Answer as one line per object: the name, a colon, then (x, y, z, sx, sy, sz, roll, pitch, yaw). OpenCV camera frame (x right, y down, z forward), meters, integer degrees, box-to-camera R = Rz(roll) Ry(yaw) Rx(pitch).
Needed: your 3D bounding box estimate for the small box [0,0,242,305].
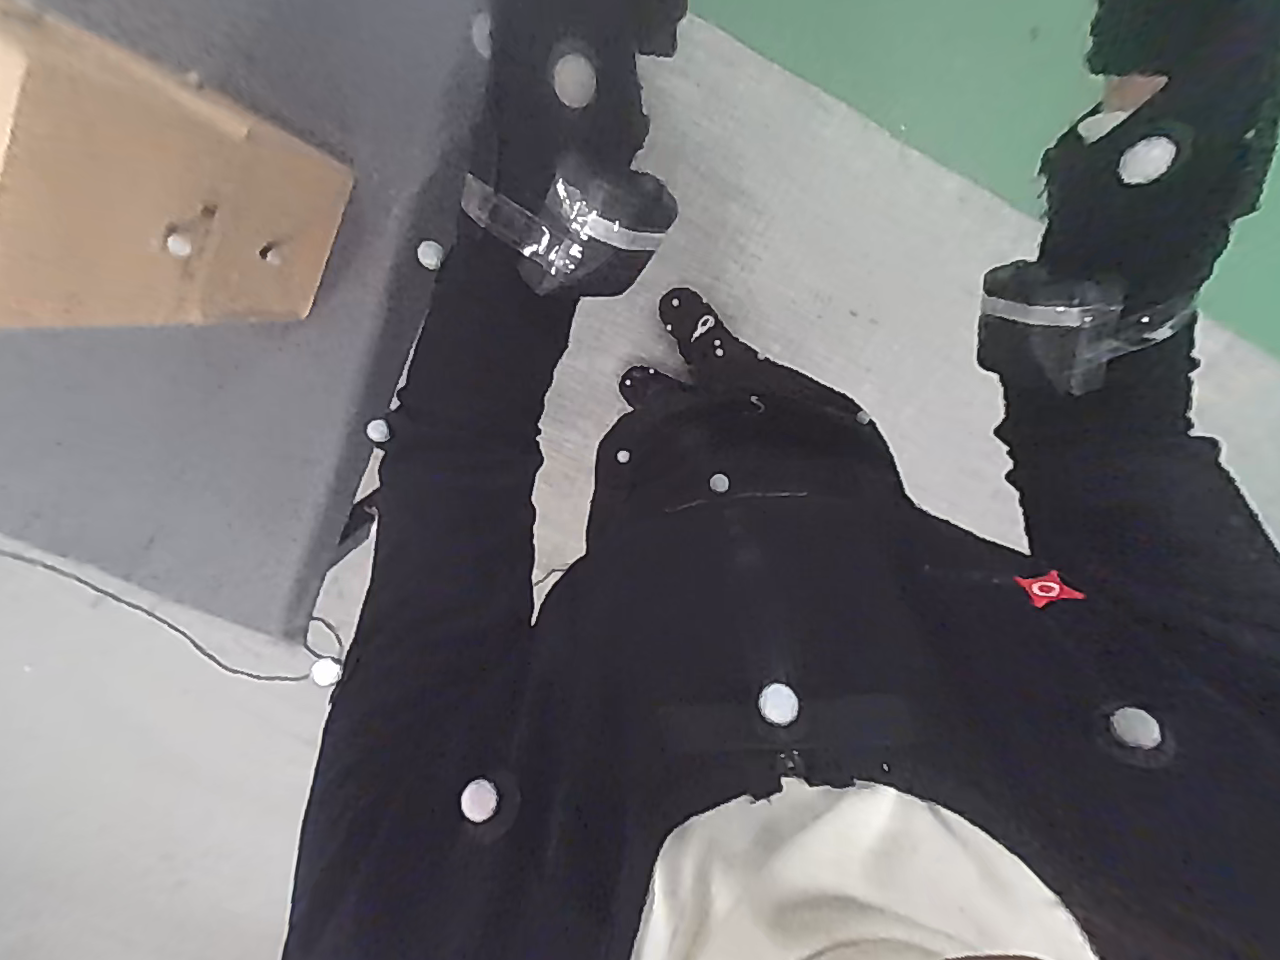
small box: (-0.431, -0.230, 0.363, 0.179, 0.176, 0.168, 31, 106, -9)

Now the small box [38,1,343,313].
small box: (-0.424, -0.281, 0.520, 0.168, 0.176, 0.179, 28, 107, -8)
